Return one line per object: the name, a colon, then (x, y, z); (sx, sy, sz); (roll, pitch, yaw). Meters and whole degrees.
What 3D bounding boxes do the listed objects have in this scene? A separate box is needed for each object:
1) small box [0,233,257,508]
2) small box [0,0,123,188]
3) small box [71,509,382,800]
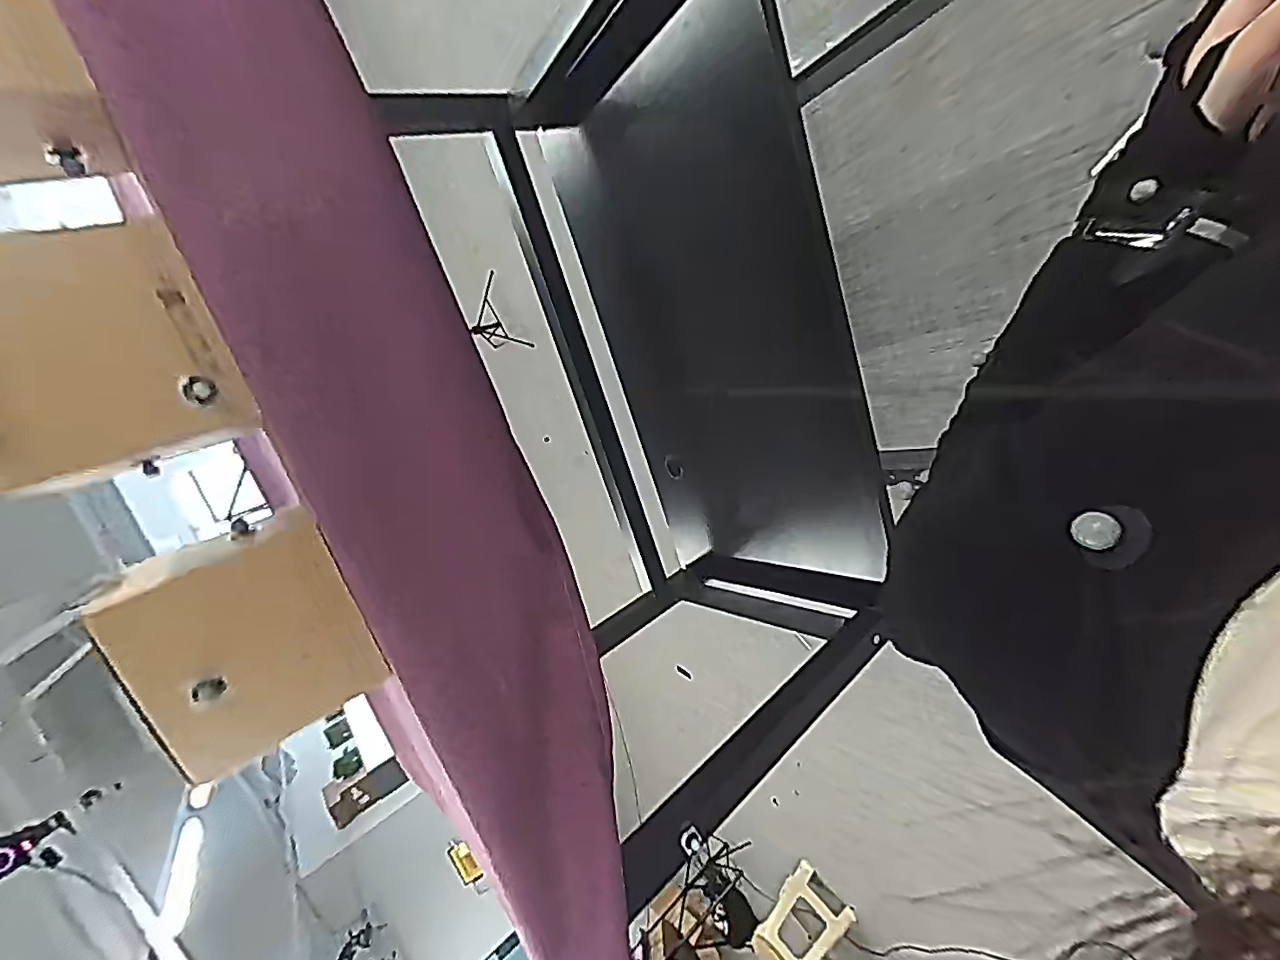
small box: (-0.451, -0.088, 0.454); (0.179, 0.176, 0.168); (2, 115, 55)
small box: (-0.518, -0.318, 0.377); (0.168, 0.176, 0.179); (9, 121, 53)
small box: (-0.377, 0.149, 0.525); (0.168, 0.176, 0.179); (6, 118, 53)
